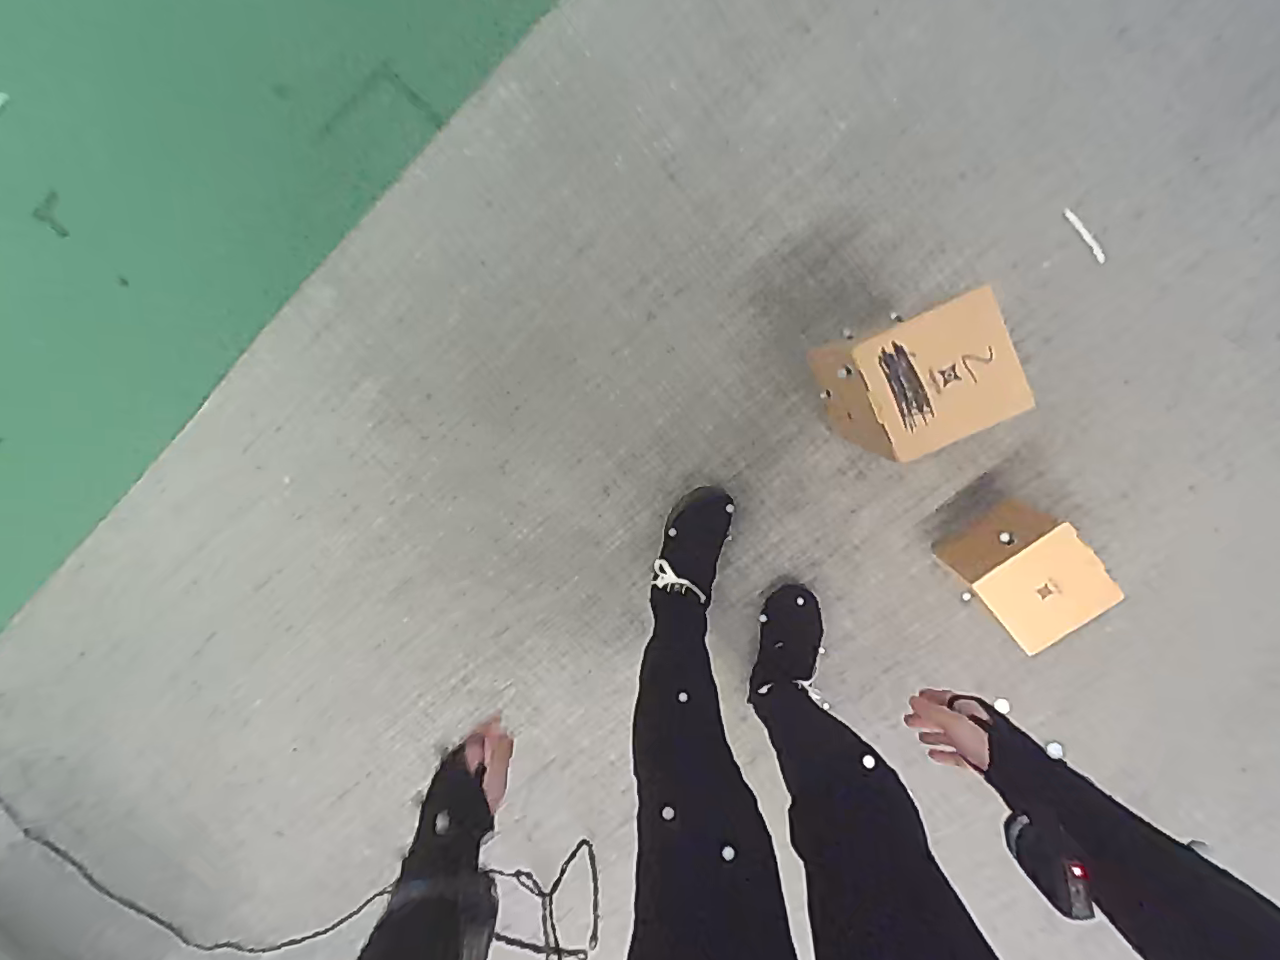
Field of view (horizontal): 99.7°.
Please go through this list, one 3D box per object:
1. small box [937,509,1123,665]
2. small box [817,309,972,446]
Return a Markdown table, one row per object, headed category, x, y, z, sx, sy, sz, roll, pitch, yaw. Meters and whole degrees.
| category | x | y | z | sx | sy | sz | roll | pitch | yaw |
| --- | --- | --- | --- | --- | --- | --- | --- | --- | --- |
| small box | 0.649 | 0.175 | 0.932 | 0.179 | 0.176 | 0.168 | -38 | 95 | 12 |
| small box | 0.402 | -0.166 | 0.888 | 0.179 | 0.176 | 0.168 | -17 | 100 | 9 |
